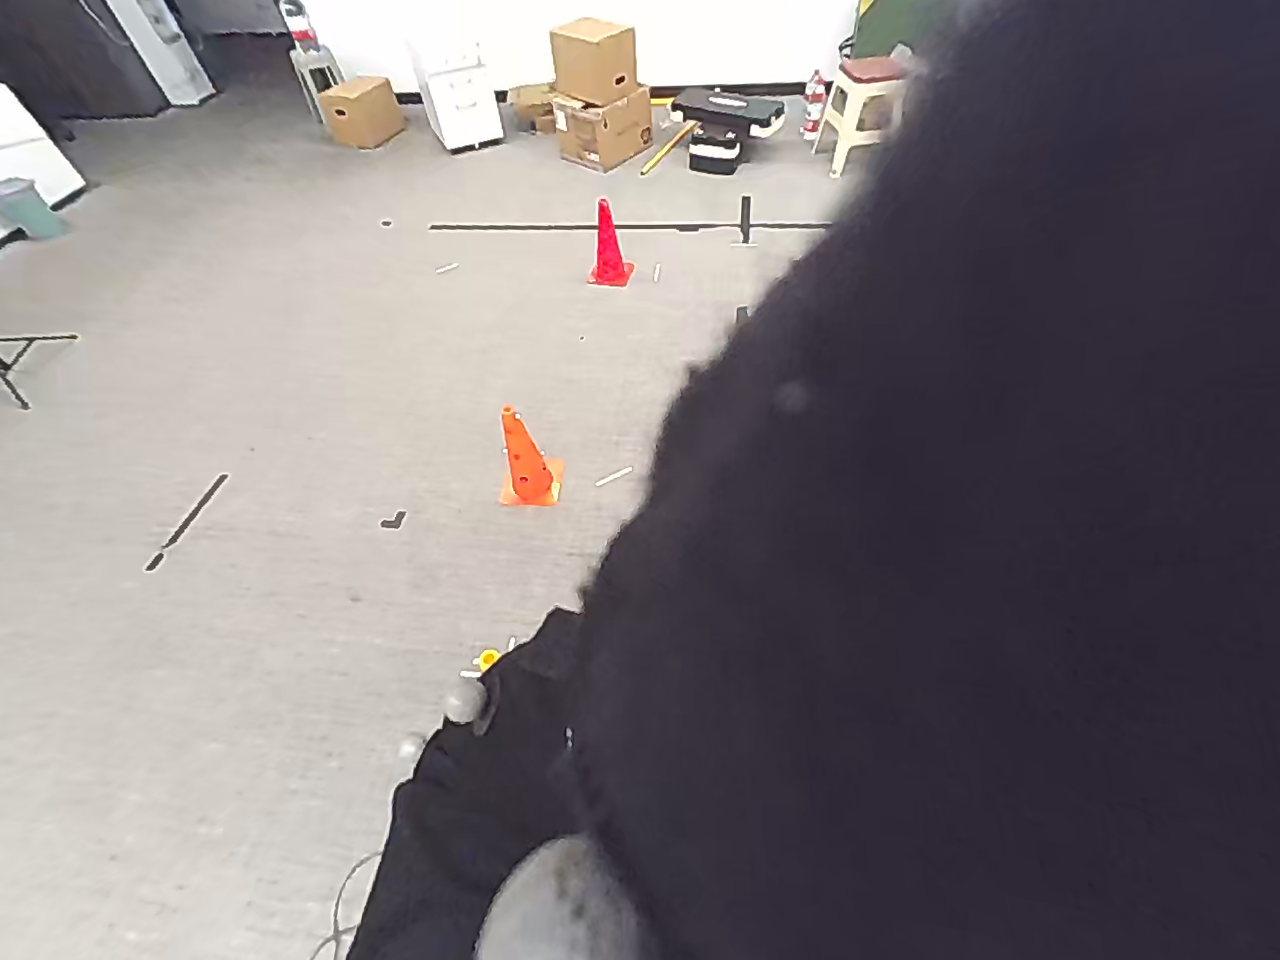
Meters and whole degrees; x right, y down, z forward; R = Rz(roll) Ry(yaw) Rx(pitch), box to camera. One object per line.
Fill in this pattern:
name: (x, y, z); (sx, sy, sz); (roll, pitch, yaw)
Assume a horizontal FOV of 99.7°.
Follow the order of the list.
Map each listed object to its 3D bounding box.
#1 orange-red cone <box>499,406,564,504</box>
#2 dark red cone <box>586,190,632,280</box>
orange-red cone: (-0.385, -0.099, 1.743); (0.198, 0.360, 0.199); (1, 54, 6)
dark red cone: (-0.156, -1.132, 2.499); (0.201, 0.394, 0.202); (9, 54, 10)
